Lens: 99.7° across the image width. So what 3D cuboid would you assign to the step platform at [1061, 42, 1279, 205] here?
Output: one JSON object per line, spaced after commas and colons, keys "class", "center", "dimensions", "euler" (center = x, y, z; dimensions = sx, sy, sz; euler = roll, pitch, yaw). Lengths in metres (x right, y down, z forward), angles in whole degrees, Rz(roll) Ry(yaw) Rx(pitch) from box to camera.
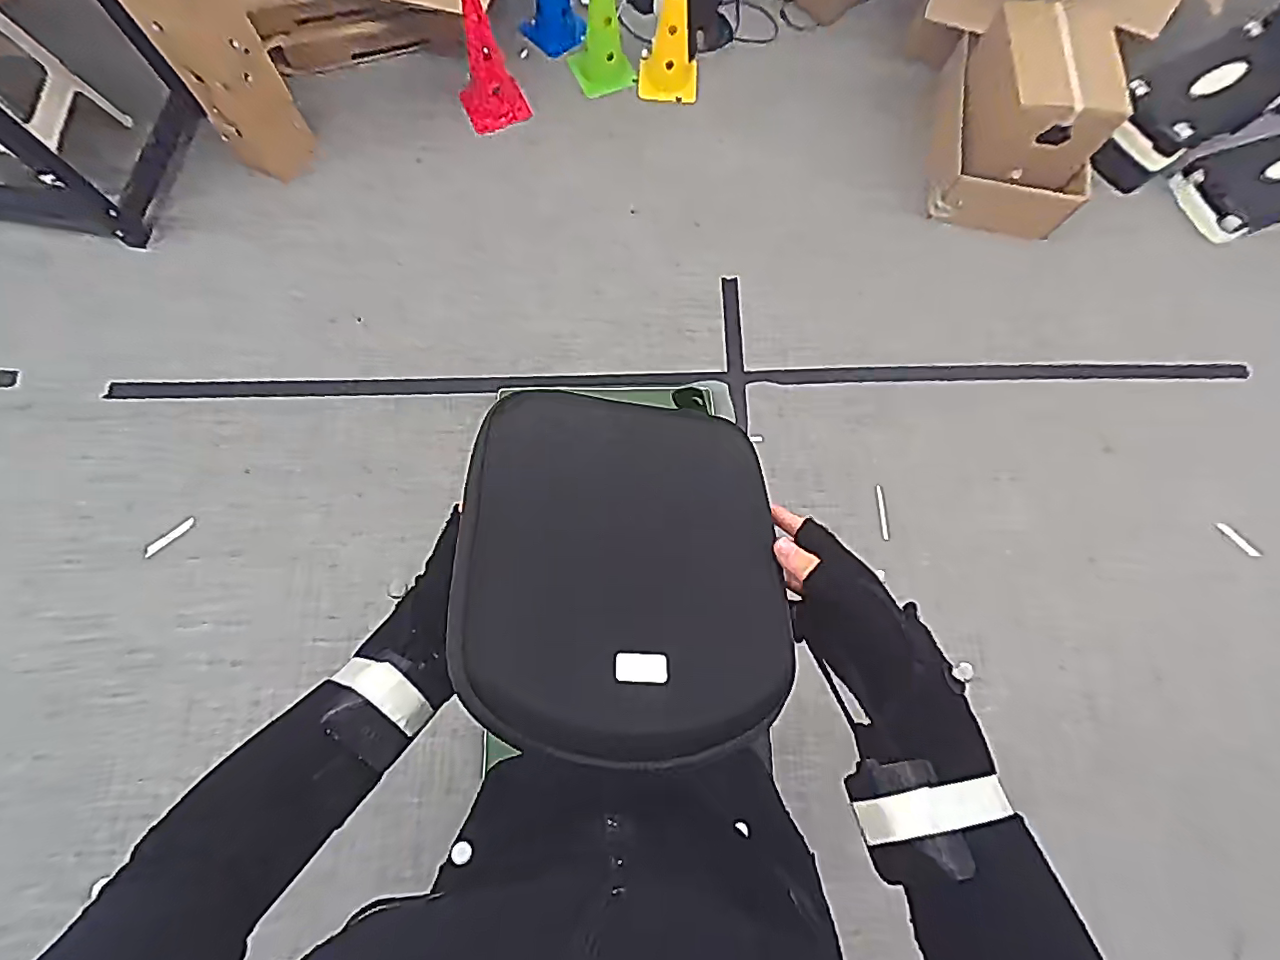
{"class": "step platform", "center": [1.830, -1.224, 1.853], "dimensions": [0.684, 0.204, 0.286], "euler": [-29, 78, -10]}
